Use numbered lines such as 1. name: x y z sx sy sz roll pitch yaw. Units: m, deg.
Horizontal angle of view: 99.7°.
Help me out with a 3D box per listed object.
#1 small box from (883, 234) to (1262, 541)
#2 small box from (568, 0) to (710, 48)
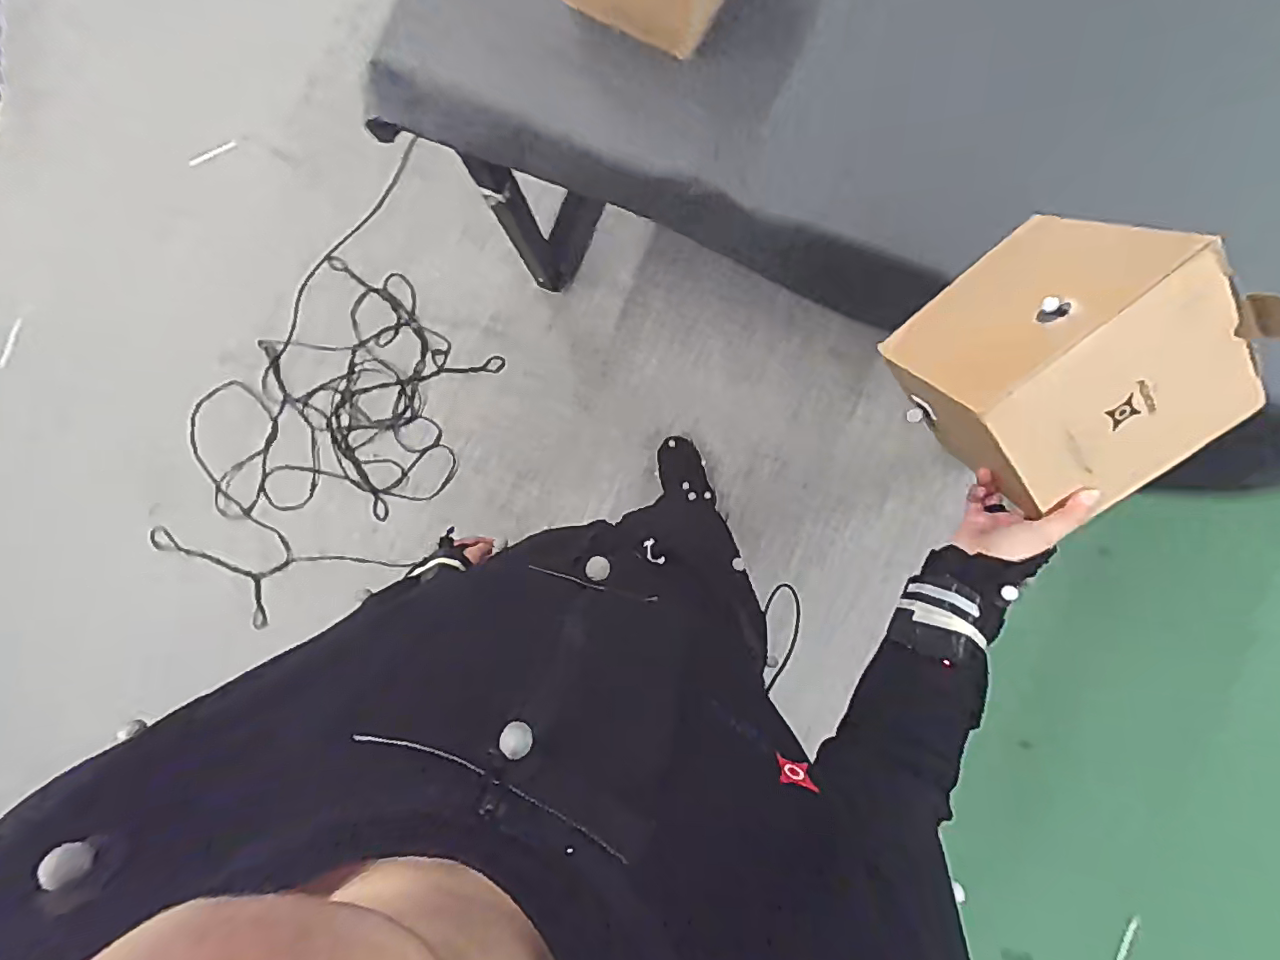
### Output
1. small box: 0.358 -0.089 0.476 0.179 0.176 0.168 -41 117 16
2. small box: 0.013 -0.615 0.569 0.179 0.176 0.168 28 89 3
